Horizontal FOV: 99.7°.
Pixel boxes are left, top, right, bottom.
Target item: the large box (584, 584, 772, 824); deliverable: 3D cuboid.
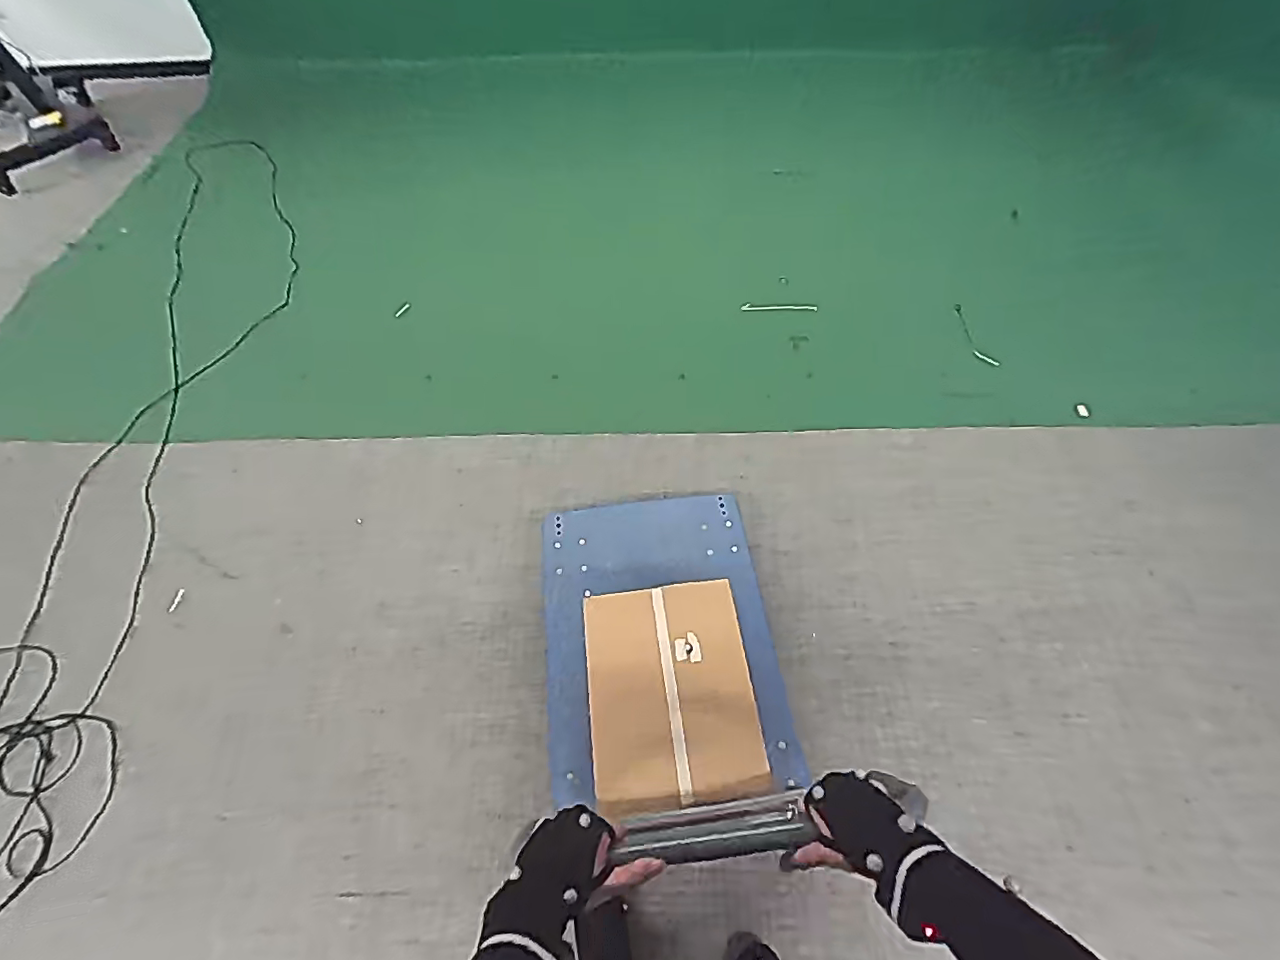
[{"bbox_3d":[0.064,0.489,1.177,0.320,0.320,0.408,-7,56,-3],"label":"large box"}]
